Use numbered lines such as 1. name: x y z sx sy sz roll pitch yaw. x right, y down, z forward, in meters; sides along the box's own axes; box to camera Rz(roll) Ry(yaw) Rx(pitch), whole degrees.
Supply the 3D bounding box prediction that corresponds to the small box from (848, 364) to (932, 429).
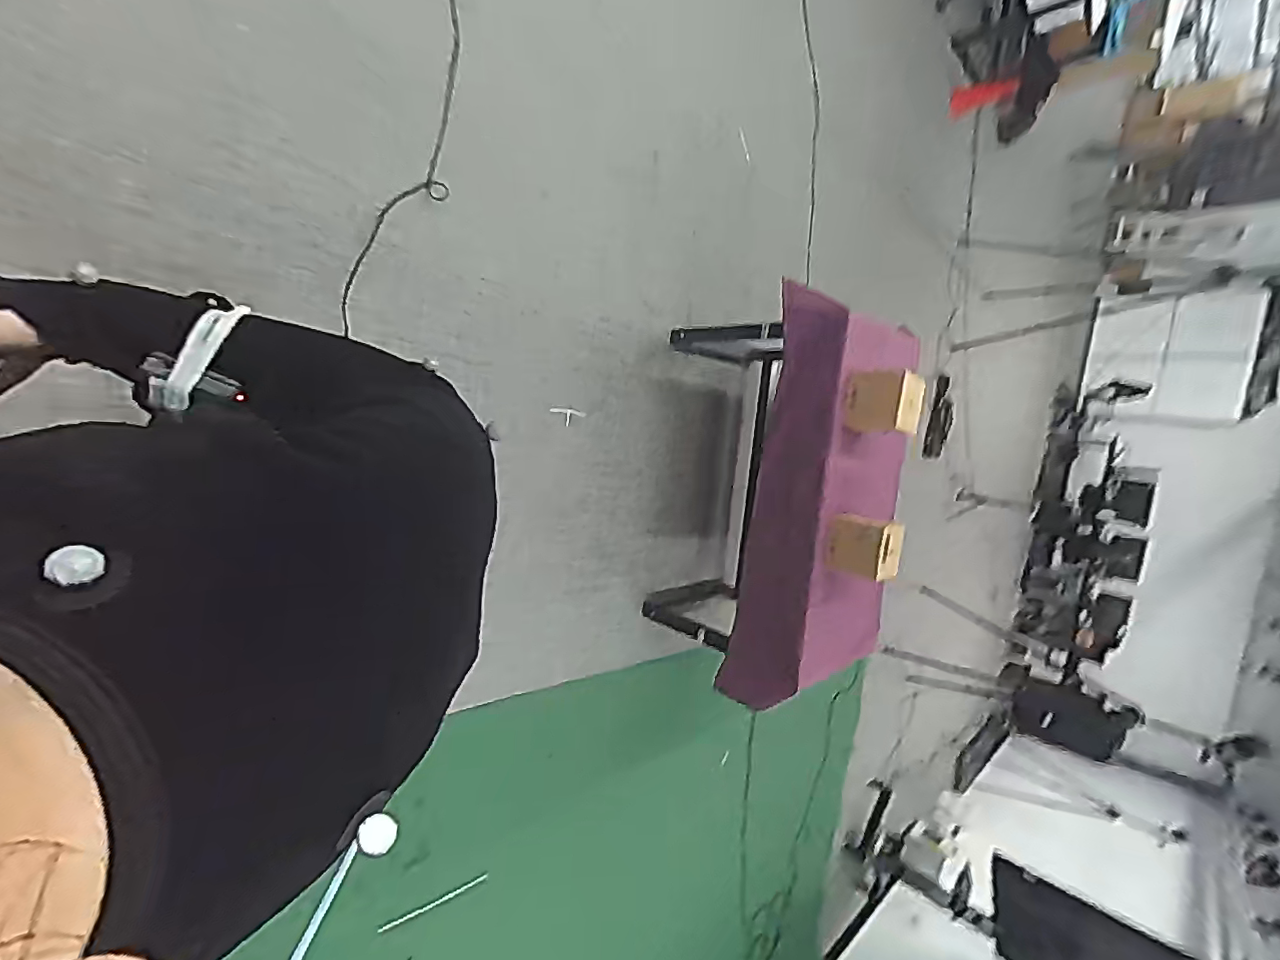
1. small box: 0.761 -0.256 1.649 0.179 0.176 0.168 6 94 -44
